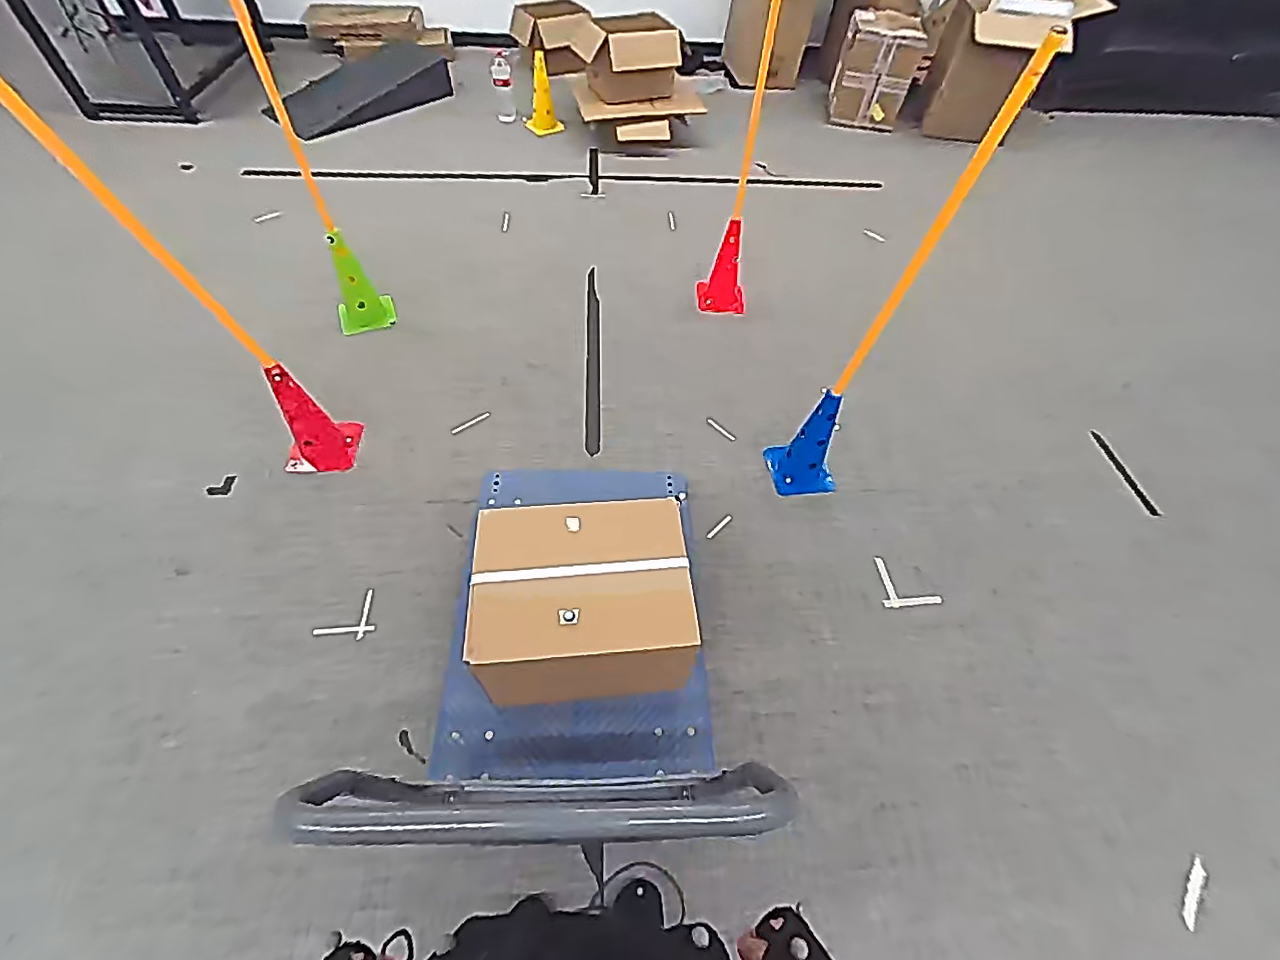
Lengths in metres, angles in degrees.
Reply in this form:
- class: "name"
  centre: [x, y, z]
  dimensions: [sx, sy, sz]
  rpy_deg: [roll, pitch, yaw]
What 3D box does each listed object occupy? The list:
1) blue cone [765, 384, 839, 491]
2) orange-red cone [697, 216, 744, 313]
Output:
- class: "blue cone"
  centre: [0.538, -0.140, 1.672]
  dimensions: [0.193, 0.380, 0.192]
  rpy_deg: [-4, 54, -7]
- class: "orange-red cone"
  centre: [0.356, -0.881, 2.171]
  dimensions: [0.199, 0.360, 0.198]
  rpy_deg: [5, 55, -2]
